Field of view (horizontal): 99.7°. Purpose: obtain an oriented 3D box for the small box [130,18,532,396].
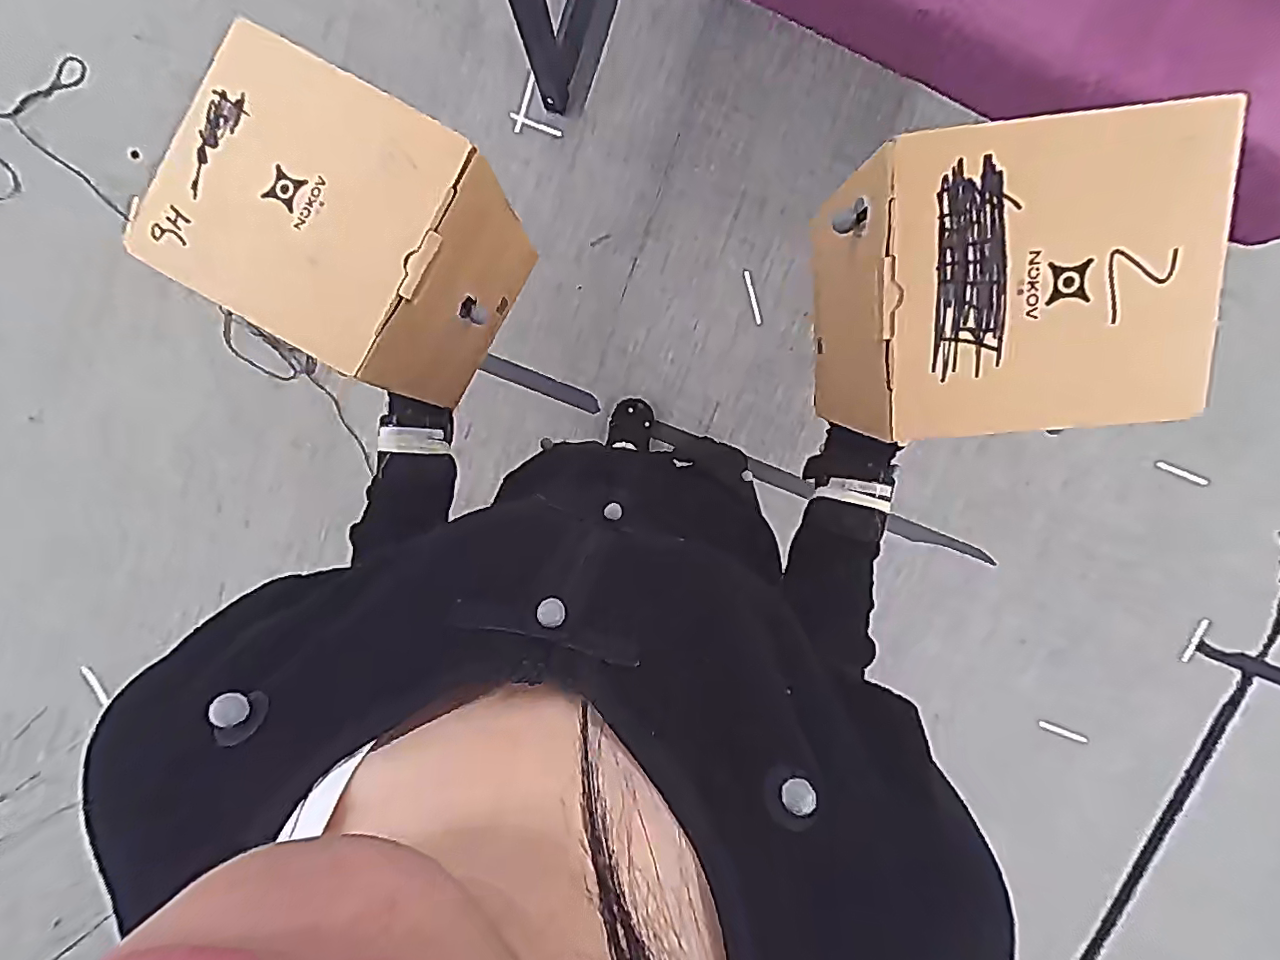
[{"bbox_3d":[-0.205,-0.177,0.417,0.179,0.176,0.168,29,92,0],"label":"small box"}]
